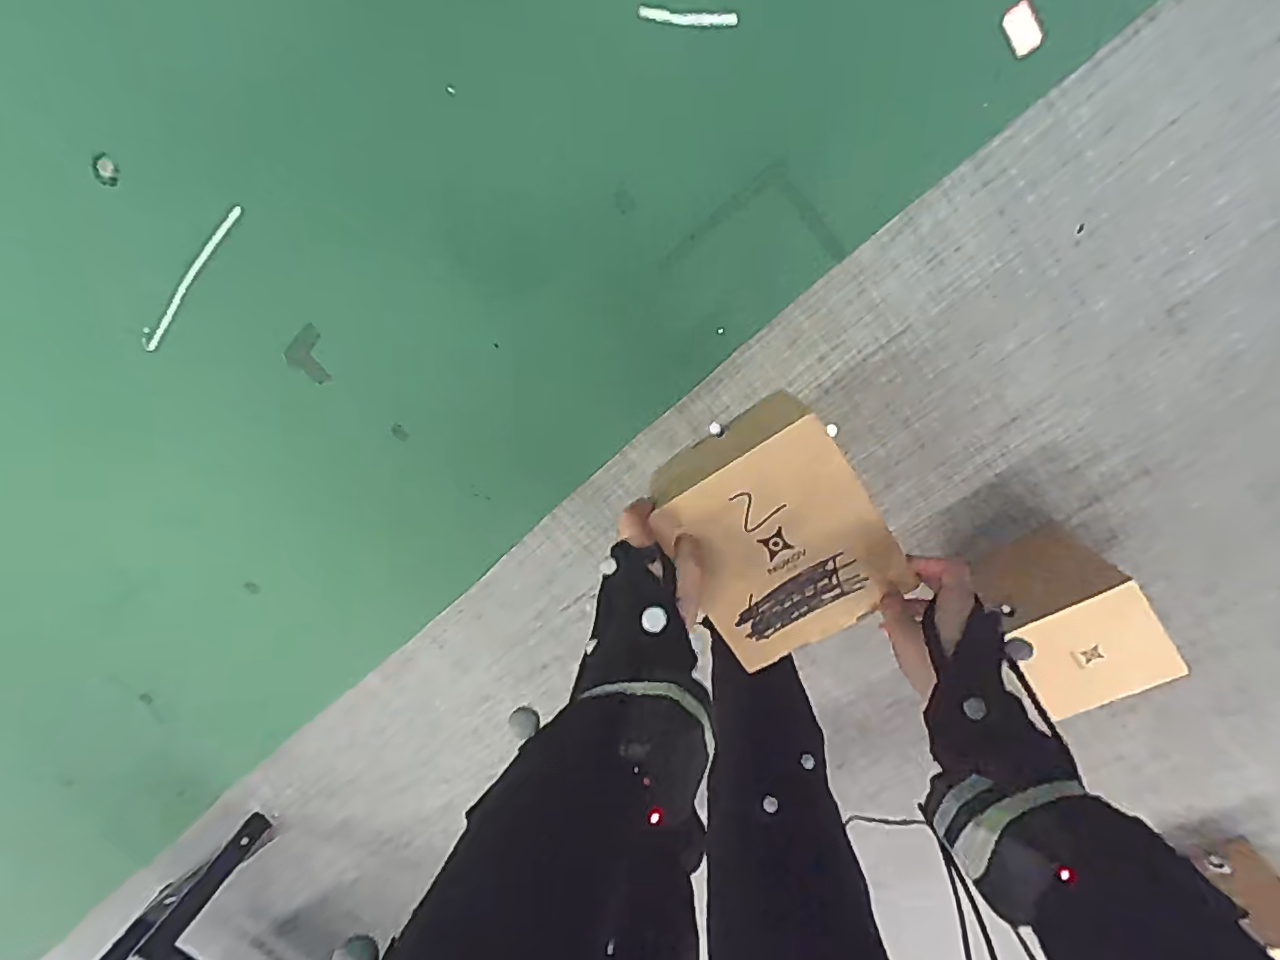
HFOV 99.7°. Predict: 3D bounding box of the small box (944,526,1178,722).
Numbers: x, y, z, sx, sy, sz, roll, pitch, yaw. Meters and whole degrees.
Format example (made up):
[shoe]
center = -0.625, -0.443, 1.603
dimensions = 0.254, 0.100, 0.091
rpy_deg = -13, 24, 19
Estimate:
[small box]
center = 0.578, 0.195, 0.768
dimensions = 0.179, 0.176, 0.168
rpy_deg = -35, 102, 20
